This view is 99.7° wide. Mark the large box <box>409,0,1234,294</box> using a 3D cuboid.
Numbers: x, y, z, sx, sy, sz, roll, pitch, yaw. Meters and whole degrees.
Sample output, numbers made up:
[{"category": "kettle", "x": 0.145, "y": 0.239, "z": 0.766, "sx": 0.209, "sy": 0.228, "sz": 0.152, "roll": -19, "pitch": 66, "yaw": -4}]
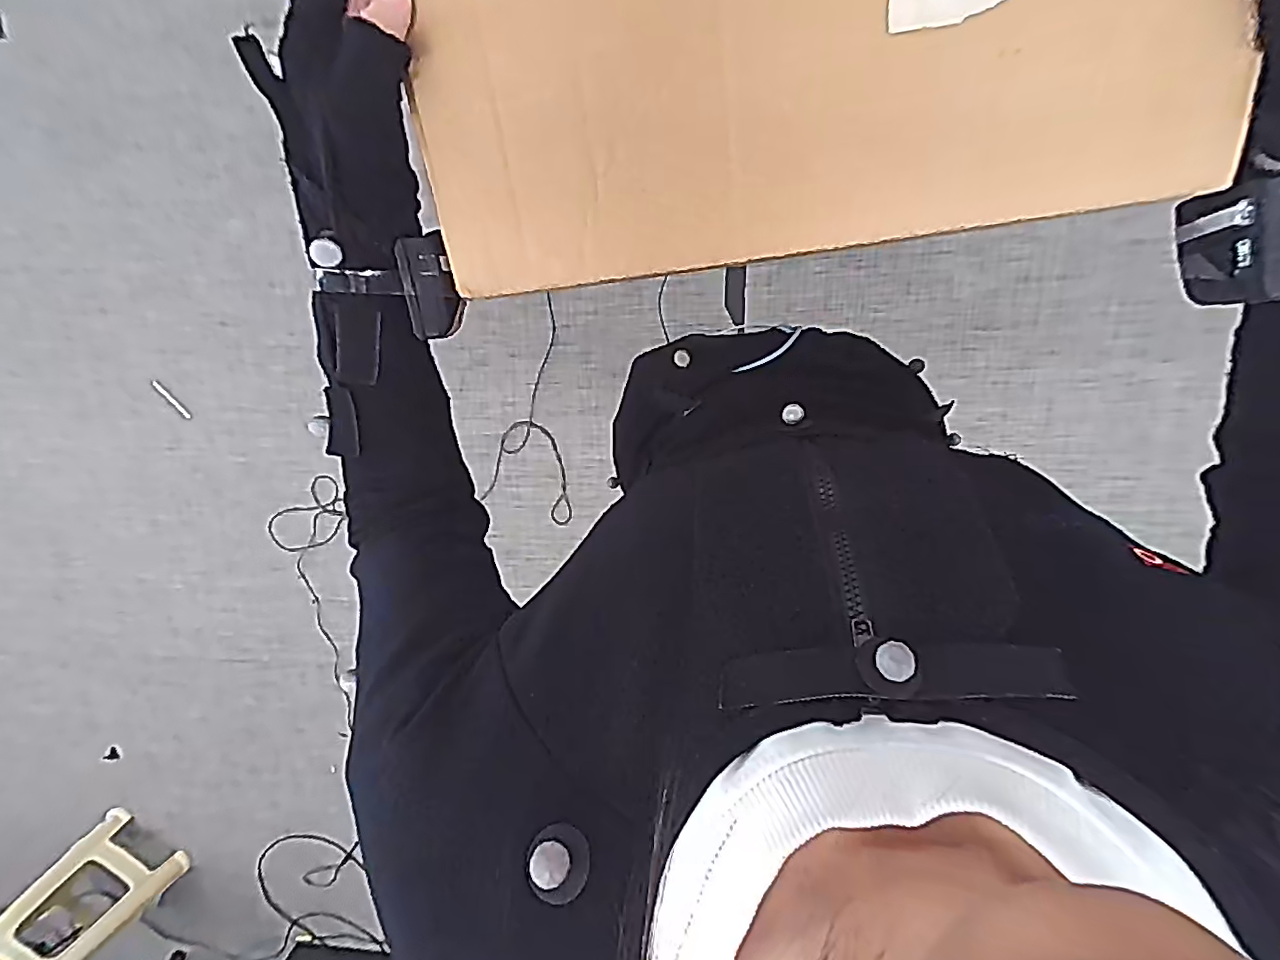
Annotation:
[{"category": "large box", "x": 0.084, "y": -0.332, "z": 0.393, "sx": 0.408, "sy": 0.320, "sz": 0.320, "roll": -6, "pitch": 111, "yaw": 8}]
